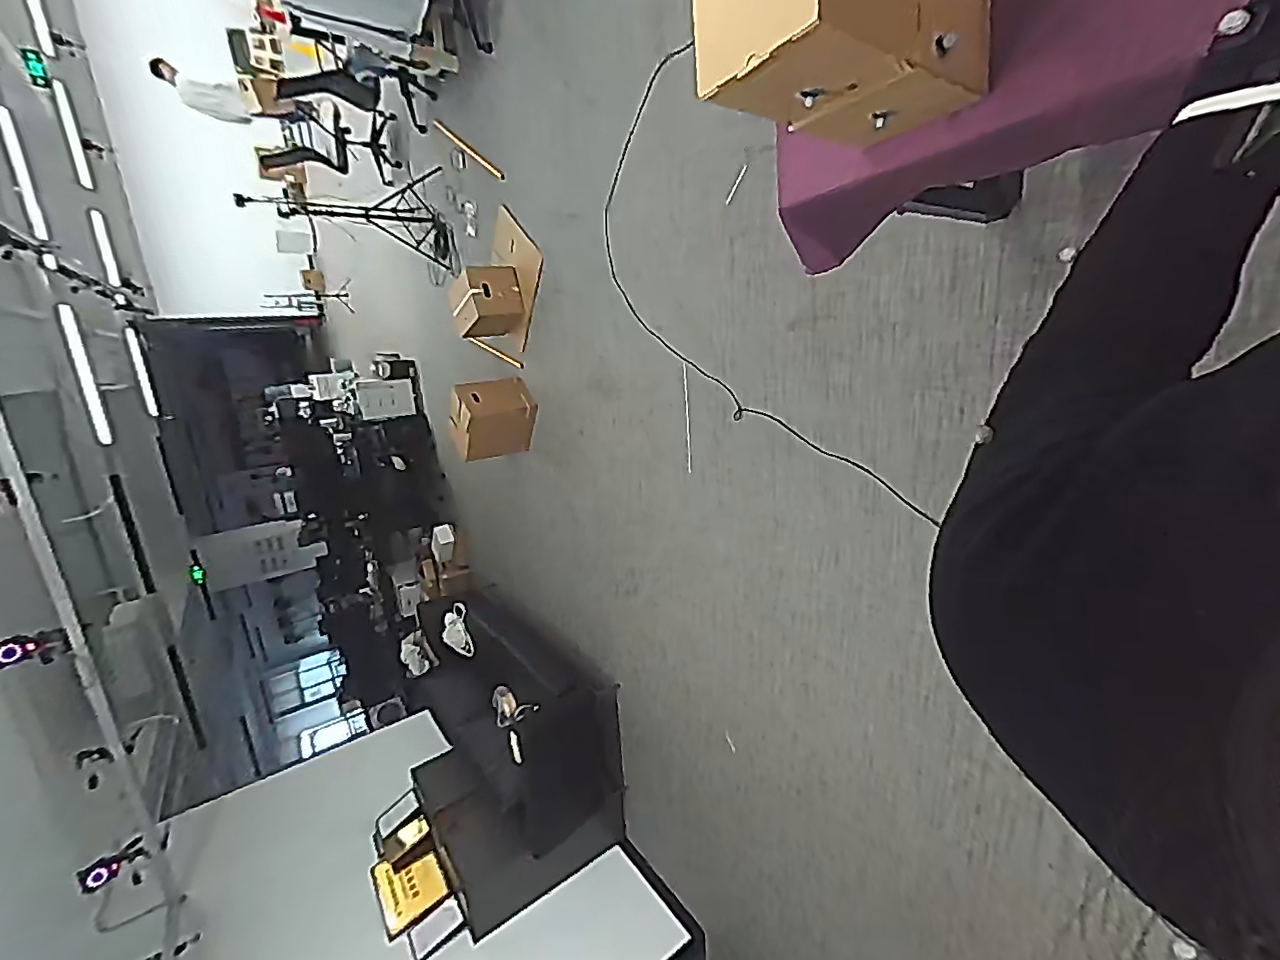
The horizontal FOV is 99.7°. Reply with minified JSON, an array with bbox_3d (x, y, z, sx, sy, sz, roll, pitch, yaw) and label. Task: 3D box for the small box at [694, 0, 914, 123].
[{"bbox_3d":[0.176,-0.522,0.582,0.168,0.176,0.179,11,111,53],"label":"small box"}]
